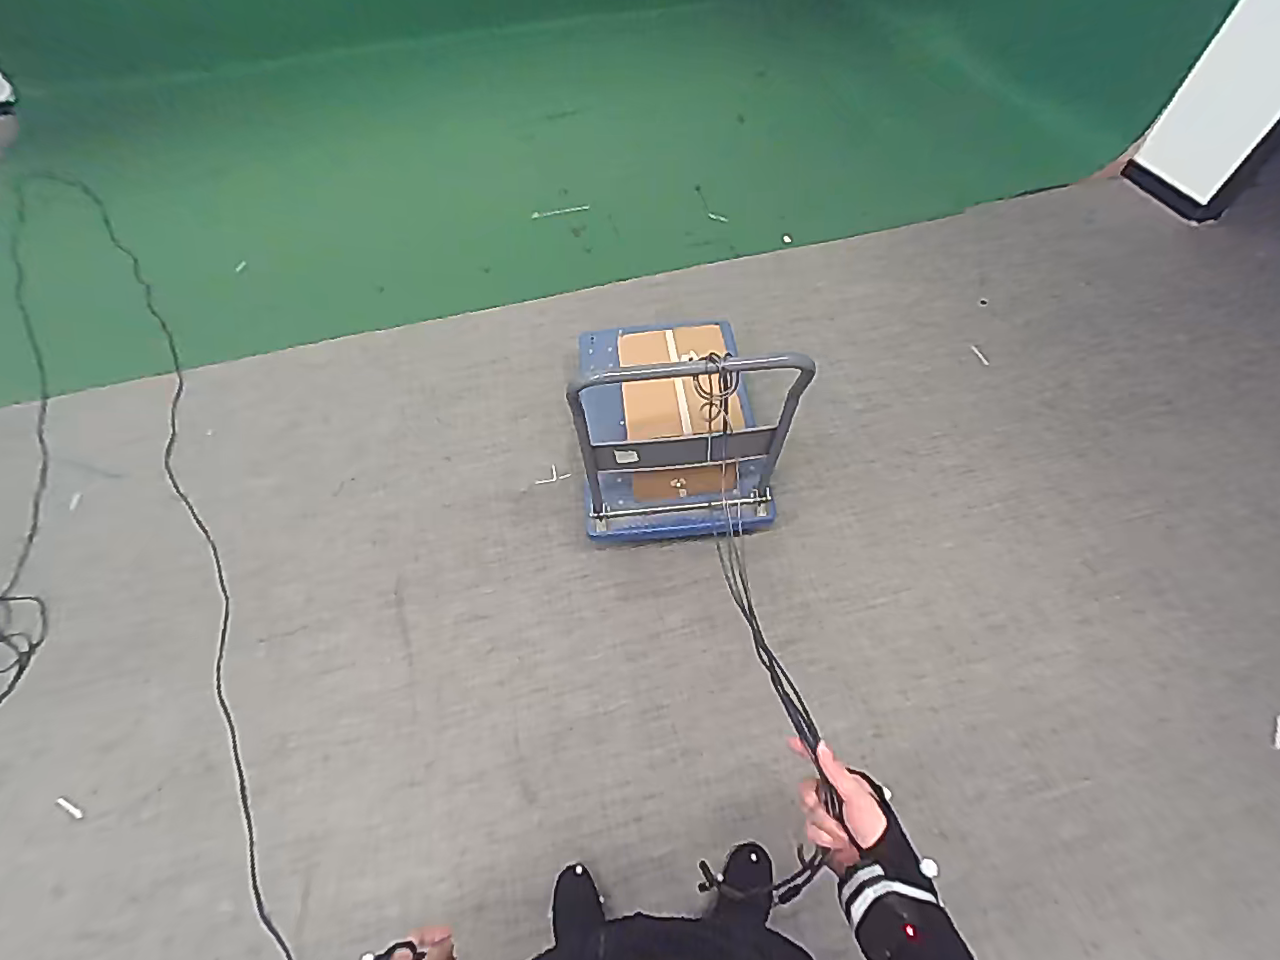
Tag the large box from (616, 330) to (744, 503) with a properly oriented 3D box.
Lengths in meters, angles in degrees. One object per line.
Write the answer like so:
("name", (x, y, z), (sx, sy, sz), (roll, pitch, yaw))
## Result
("large box", (0.109, -0.188, 1.634), (0.320, 0.320, 0.408), (-6, 56, -1))
